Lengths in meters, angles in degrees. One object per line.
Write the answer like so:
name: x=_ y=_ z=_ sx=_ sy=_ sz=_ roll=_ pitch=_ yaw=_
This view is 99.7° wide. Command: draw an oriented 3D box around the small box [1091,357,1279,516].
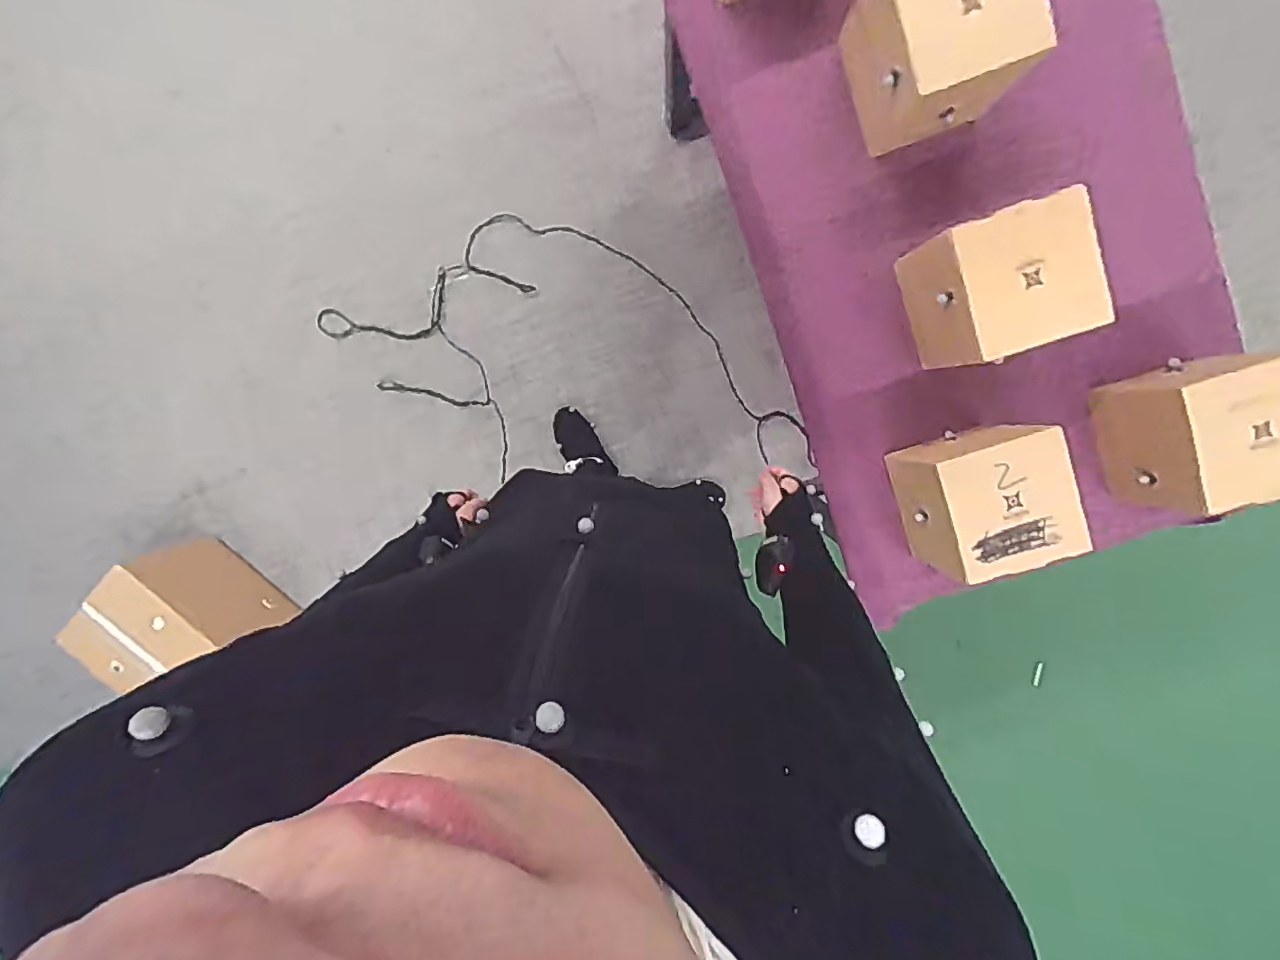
small box: x=0.790 y=-0.068 z=0.758 sx=0.168 sy=0.176 sz=0.179 roll=-17 pitch=96 yaw=6

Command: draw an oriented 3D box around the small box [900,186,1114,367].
small box: x=0.492 y=-0.263 z=0.749 sx=0.168 sy=0.176 sz=0.179 roll=-18 pitch=96 yaw=6

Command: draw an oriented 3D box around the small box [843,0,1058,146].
small box: x=0.390 y=-0.573 z=0.707 sx=0.168 sy=0.176 sz=0.179 roll=-18 pitch=97 yaw=5
